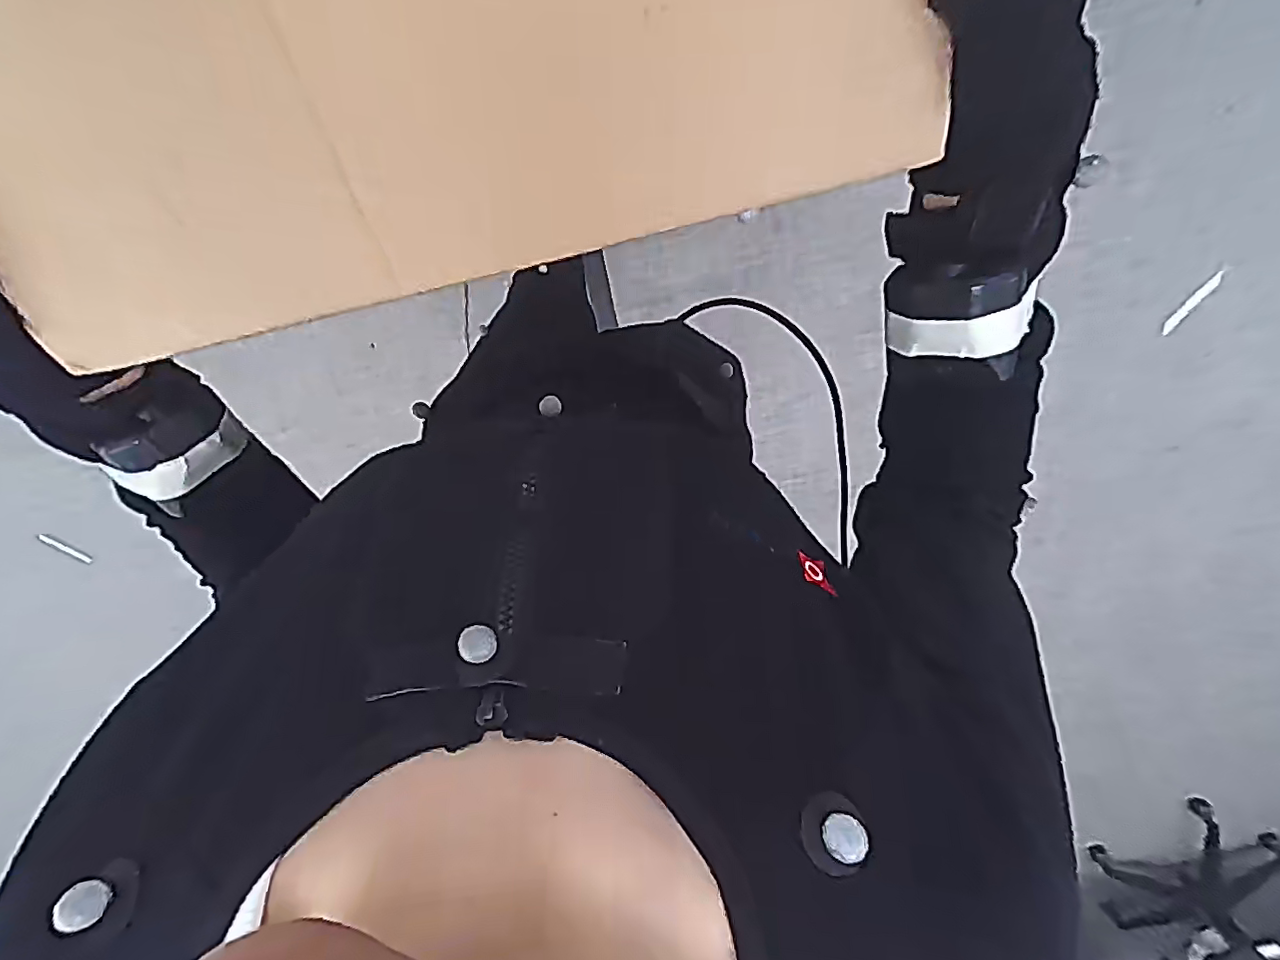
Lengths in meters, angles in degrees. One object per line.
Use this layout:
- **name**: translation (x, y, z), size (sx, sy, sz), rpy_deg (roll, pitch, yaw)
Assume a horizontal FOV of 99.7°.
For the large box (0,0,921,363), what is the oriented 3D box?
- **large box**: translation (-0.116, -0.307, 0.284), size (0.408, 0.320, 0.320), rpy_deg (-12, 124, 5)
